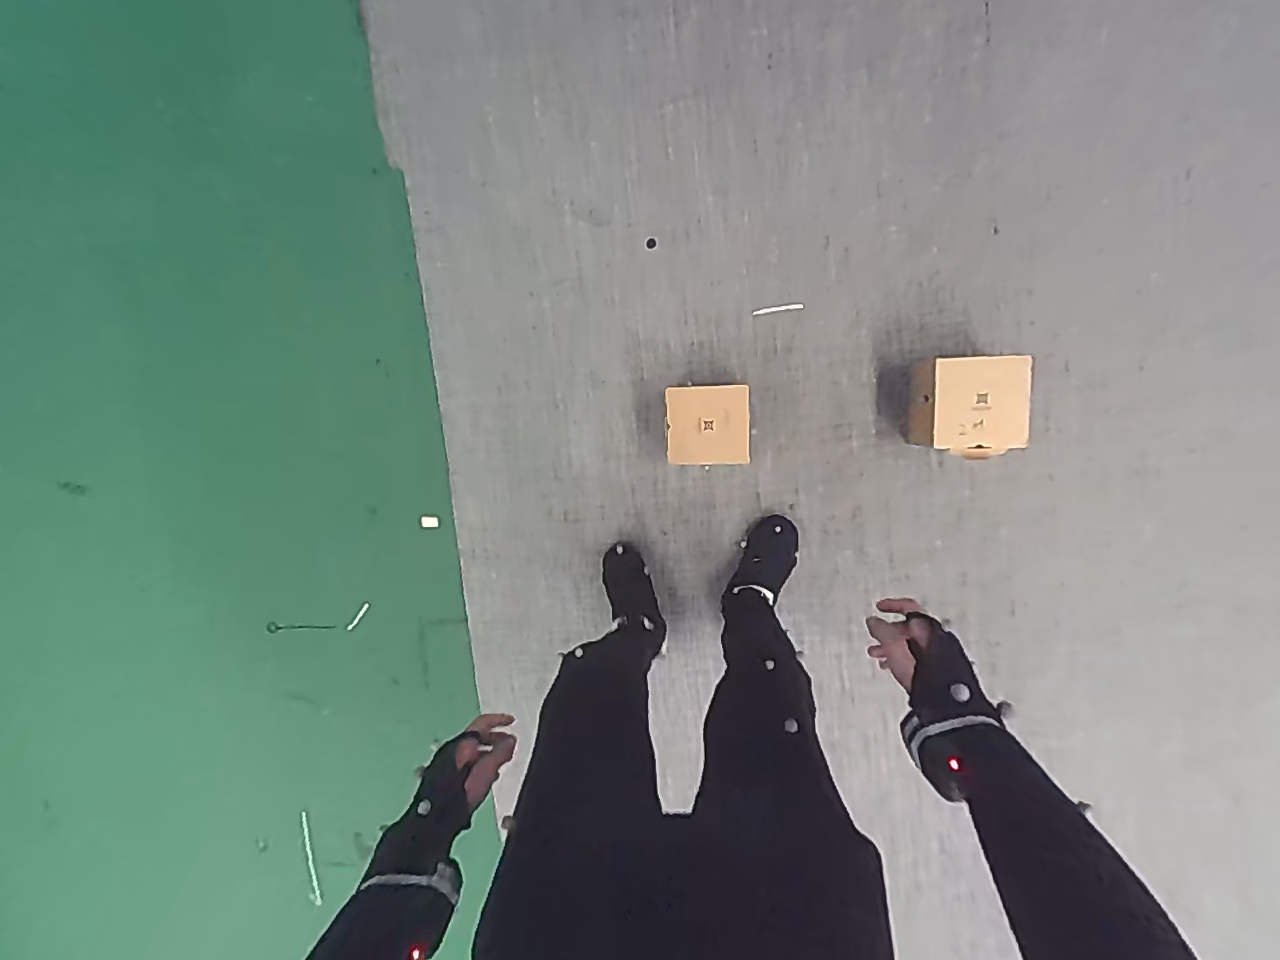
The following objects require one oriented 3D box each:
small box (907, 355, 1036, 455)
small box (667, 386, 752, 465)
[{"bbox_3d":[0.657,-0.151,1.094,0.168,0.176,0.179,7,99,13],"label":"small box"},{"bbox_3d":[0.158,-0.122,1.202,0.179,0.176,0.168,0,97,11],"label":"small box"}]
